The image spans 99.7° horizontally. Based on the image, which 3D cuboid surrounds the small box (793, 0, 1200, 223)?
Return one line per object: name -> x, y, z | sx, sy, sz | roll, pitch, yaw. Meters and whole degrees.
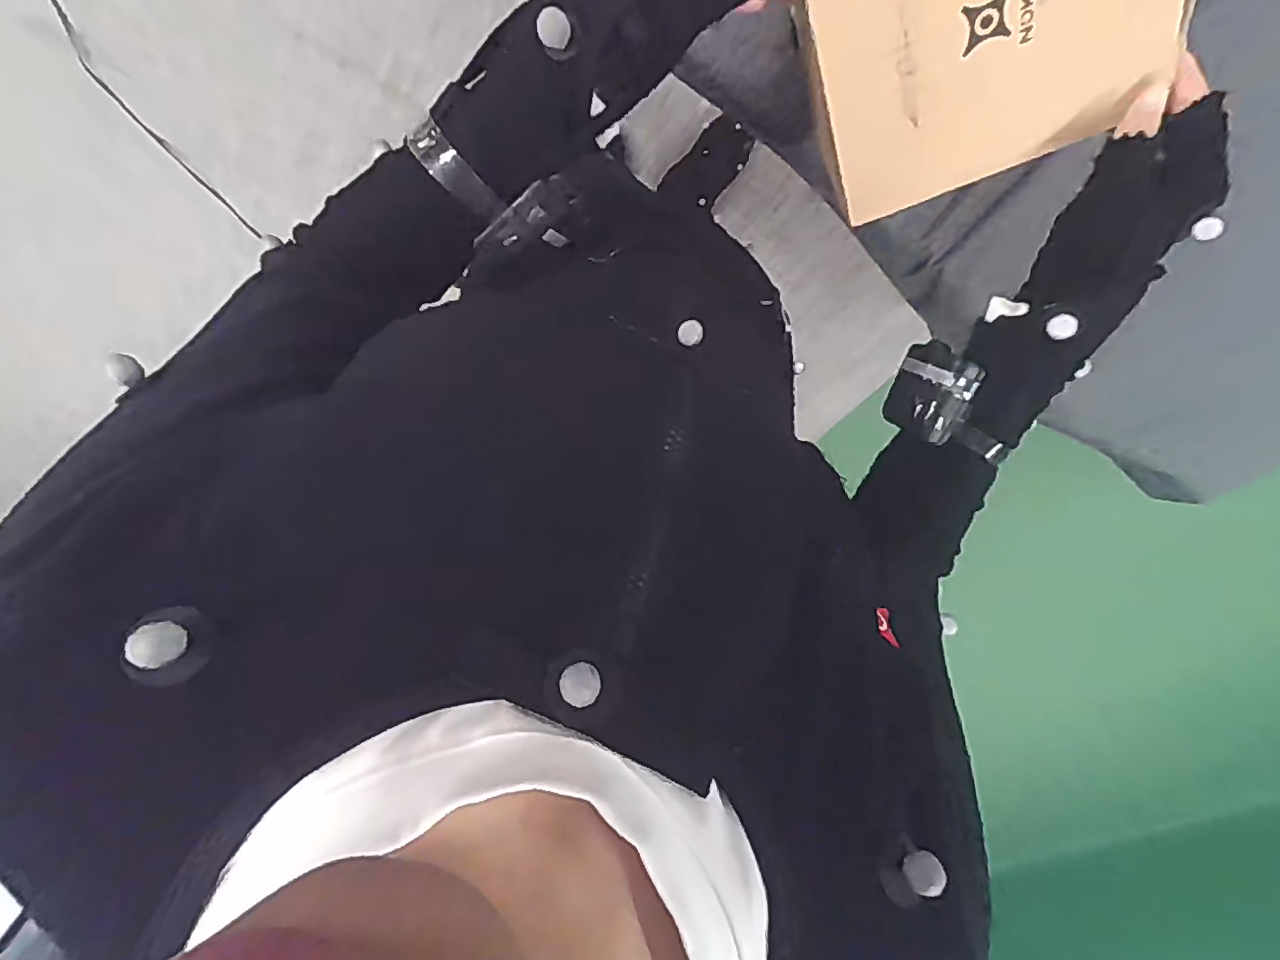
small box -> 0.194, -0.302, 0.332 | 0.179, 0.176, 0.168 | -13, 134, 24
